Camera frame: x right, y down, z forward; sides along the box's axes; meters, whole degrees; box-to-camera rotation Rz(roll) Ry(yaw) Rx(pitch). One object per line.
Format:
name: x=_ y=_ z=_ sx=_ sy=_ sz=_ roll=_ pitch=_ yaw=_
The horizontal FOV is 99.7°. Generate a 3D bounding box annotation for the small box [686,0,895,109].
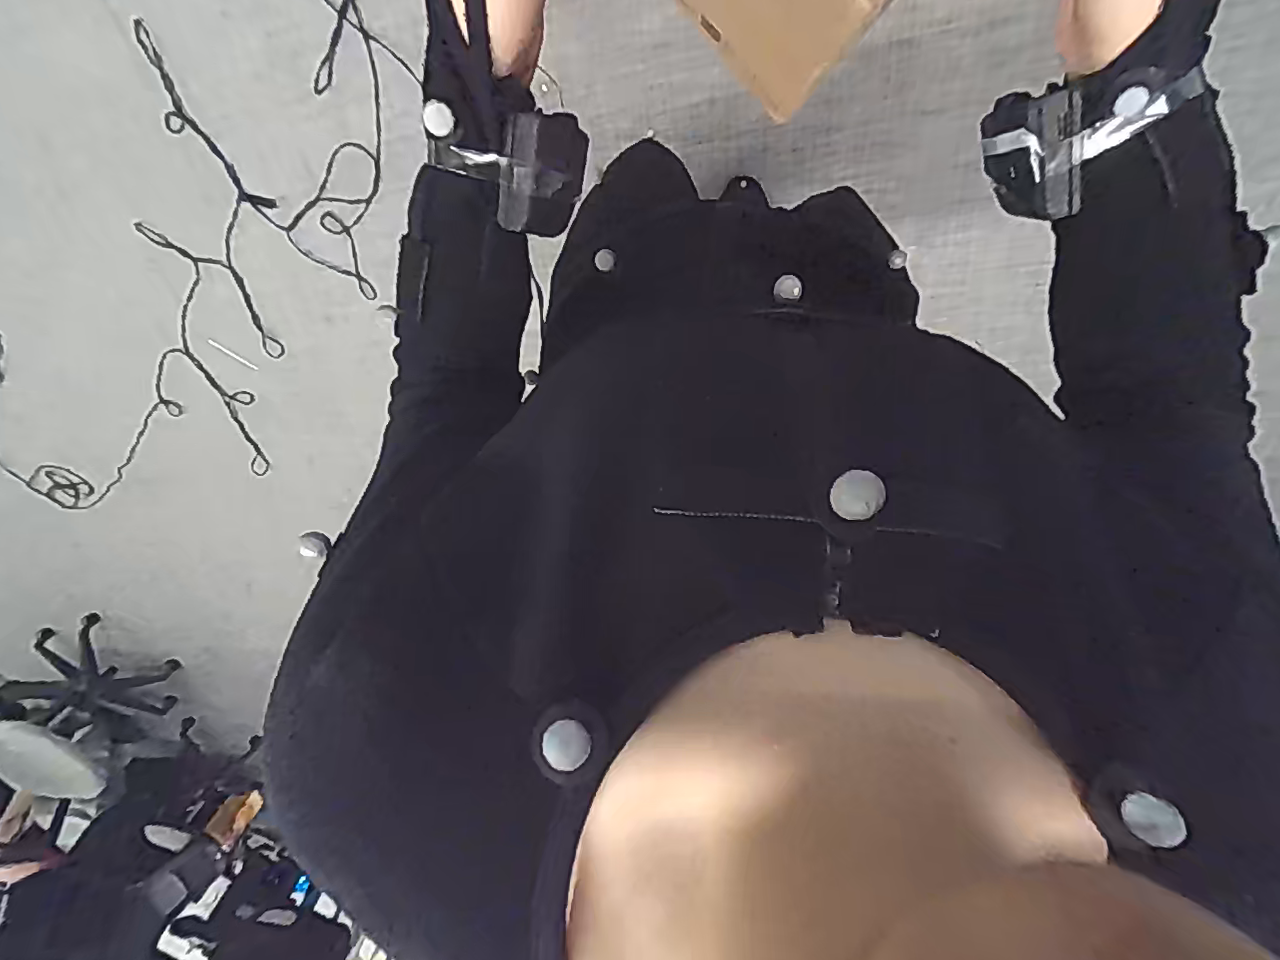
small box: x=0.075 y=-0.287 z=0.203 sx=0.168 sy=0.176 sz=0.179 roll=41 pitch=111 yaw=-12
